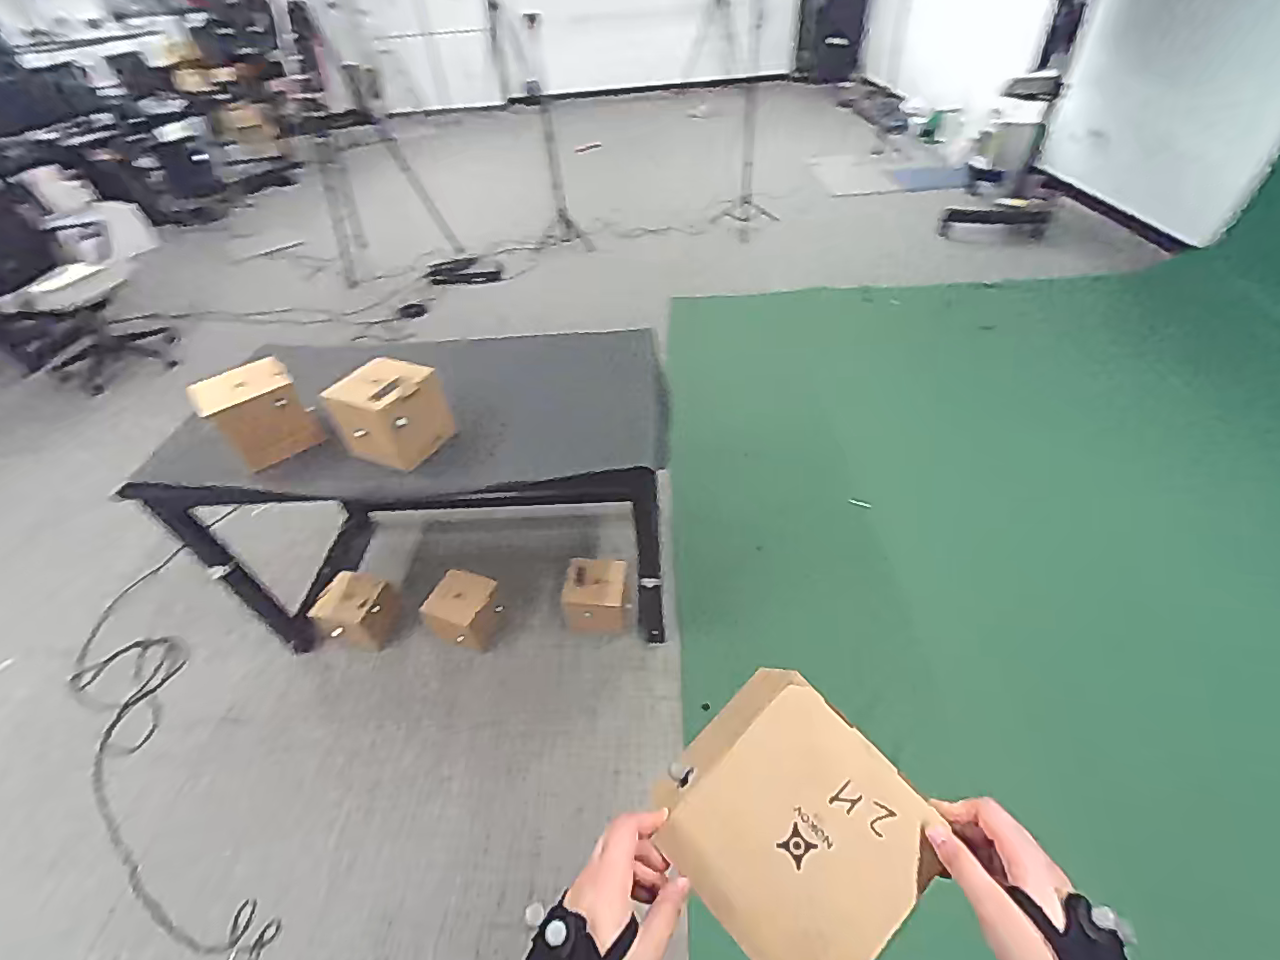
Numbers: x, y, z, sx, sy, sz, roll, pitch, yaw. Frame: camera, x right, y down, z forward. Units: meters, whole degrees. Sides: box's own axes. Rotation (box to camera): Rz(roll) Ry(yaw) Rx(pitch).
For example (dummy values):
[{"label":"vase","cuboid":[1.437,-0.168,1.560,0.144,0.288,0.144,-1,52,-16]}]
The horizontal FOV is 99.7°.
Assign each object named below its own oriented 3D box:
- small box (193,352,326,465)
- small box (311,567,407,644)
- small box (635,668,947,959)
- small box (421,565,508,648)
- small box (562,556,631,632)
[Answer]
[{"label":"small box","cuboid":[-0.864,-0.162,1.237,0.179,0.176,0.168,-33,50,-26]},{"label":"small box","cuboid":[-0.880,0.398,1.707,0.179,0.176,0.168,6,45,13]},{"label":"small box","cuboid":[0.115,0.290,0.479,0.168,0.176,0.179,44,78,13]},{"label":"small box","cuboid":[-0.534,0.396,1.675,0.179,0.176,0.168,11,45,19]},{"label":"small box","cuboid":[-0.129,0.355,1.676,0.179,0.176,0.168,2,45,7]}]
